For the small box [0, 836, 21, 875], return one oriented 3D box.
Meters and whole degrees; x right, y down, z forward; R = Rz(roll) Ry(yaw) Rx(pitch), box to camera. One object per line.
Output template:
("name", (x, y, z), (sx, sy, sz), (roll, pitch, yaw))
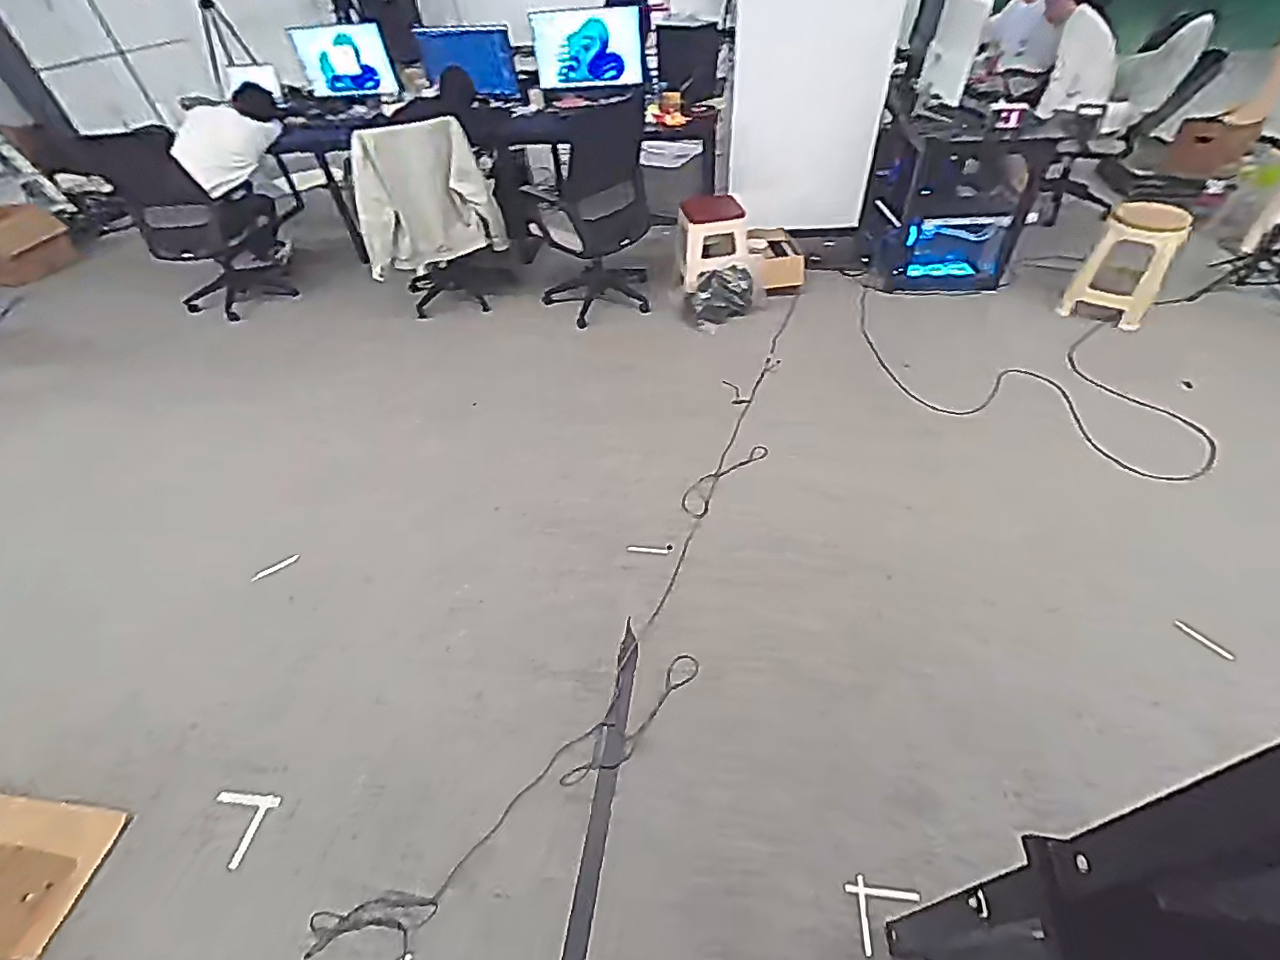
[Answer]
("small box", (-1.479, 0.808, 1.110), (0.179, 0.176, 0.168), (6, 47, 10))
